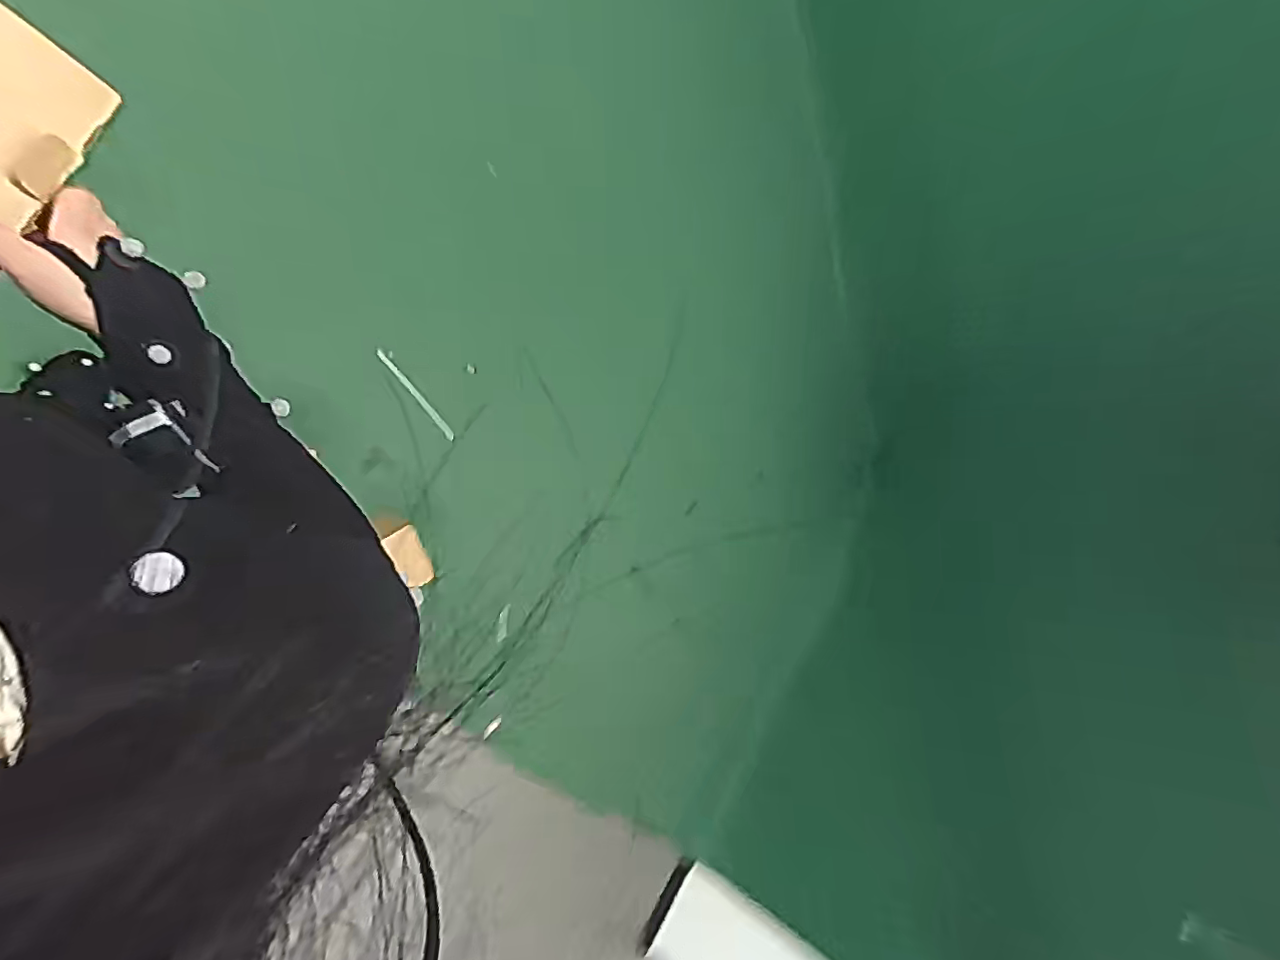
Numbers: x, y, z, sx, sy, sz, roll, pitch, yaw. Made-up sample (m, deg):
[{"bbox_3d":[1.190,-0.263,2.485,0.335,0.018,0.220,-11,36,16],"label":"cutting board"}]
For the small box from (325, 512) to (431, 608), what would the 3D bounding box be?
[{"bbox_3d":[-0.694,0.200,1.428,0.168,0.176,0.179,-34,125,-36],"label":"small box"}]
